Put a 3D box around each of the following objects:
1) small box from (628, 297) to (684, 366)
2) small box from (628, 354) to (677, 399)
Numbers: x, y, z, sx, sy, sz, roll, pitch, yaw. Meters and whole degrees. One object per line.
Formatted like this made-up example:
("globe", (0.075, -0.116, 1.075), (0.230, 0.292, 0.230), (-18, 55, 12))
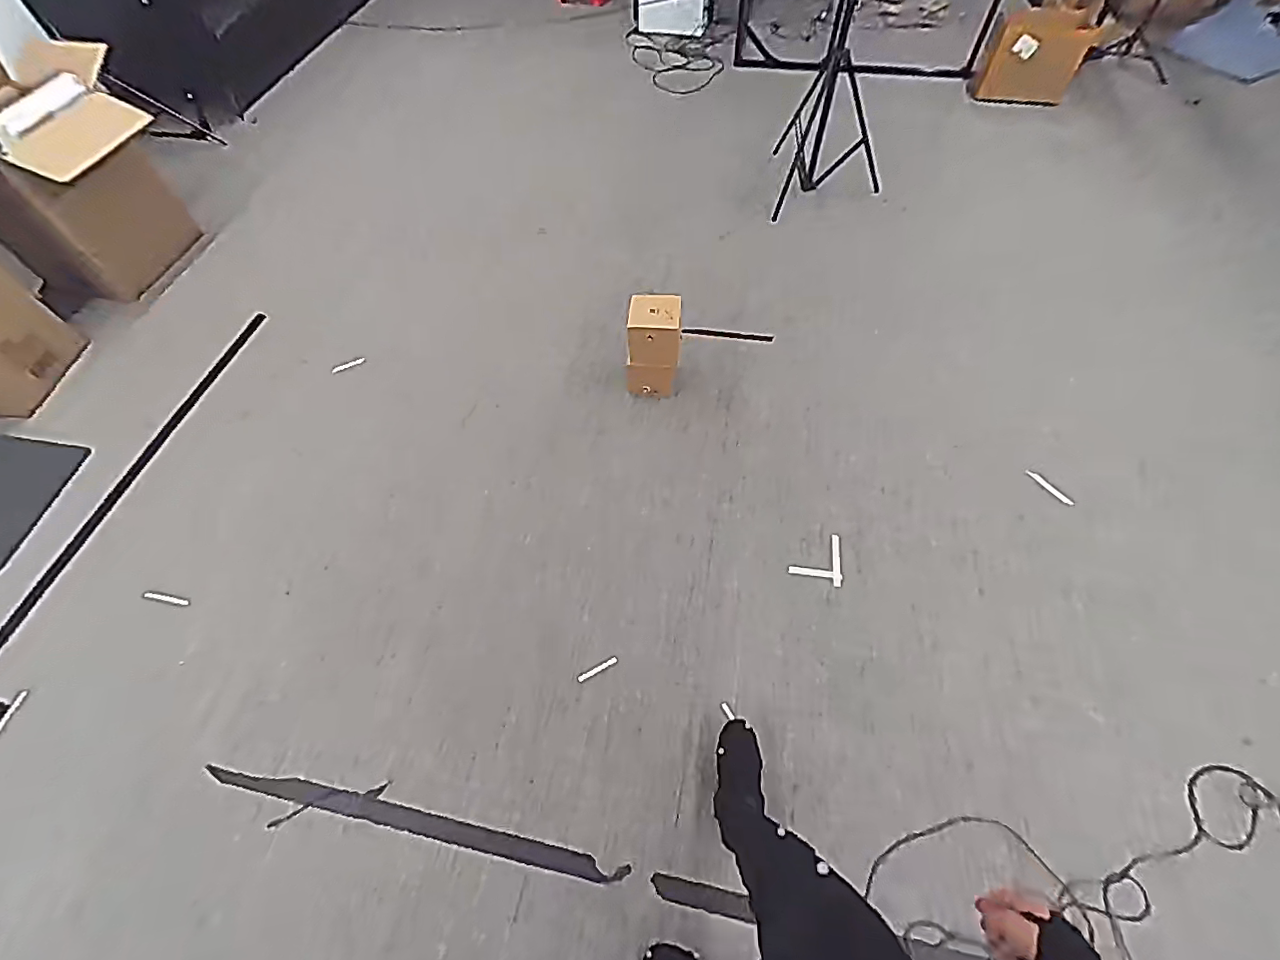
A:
("small box", (0.059, -0.515, 1.883), (0.179, 0.176, 0.168), (4, 58, 5))
("small box", (0.052, -0.427, 2.022), (0.168, 0.176, 0.179), (5, 59, 6))
